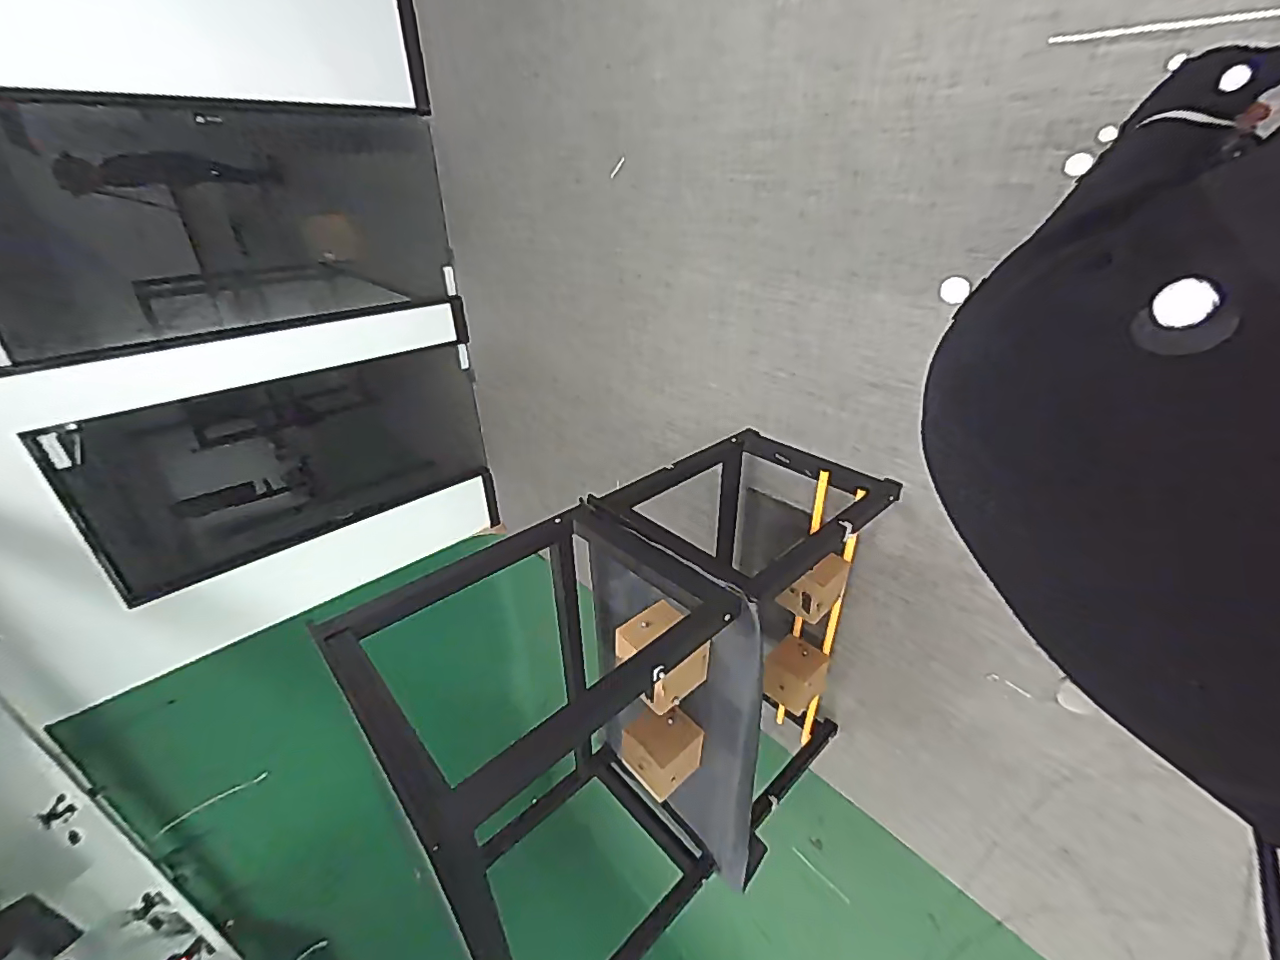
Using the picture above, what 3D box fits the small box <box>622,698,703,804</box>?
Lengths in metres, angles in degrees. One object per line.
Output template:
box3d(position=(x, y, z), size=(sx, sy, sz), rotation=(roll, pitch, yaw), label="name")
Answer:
box3d(position=(0.066, 0.773, 1.556), size=(0.168, 0.176, 0.179), rotation=(30, 132, 38), label="small box")

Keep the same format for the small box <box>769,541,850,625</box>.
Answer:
box3d(position=(0.550, 0.325, 1.749), size=(0.179, 0.176, 0.168), rotation=(31, 132, 37), label="small box")
